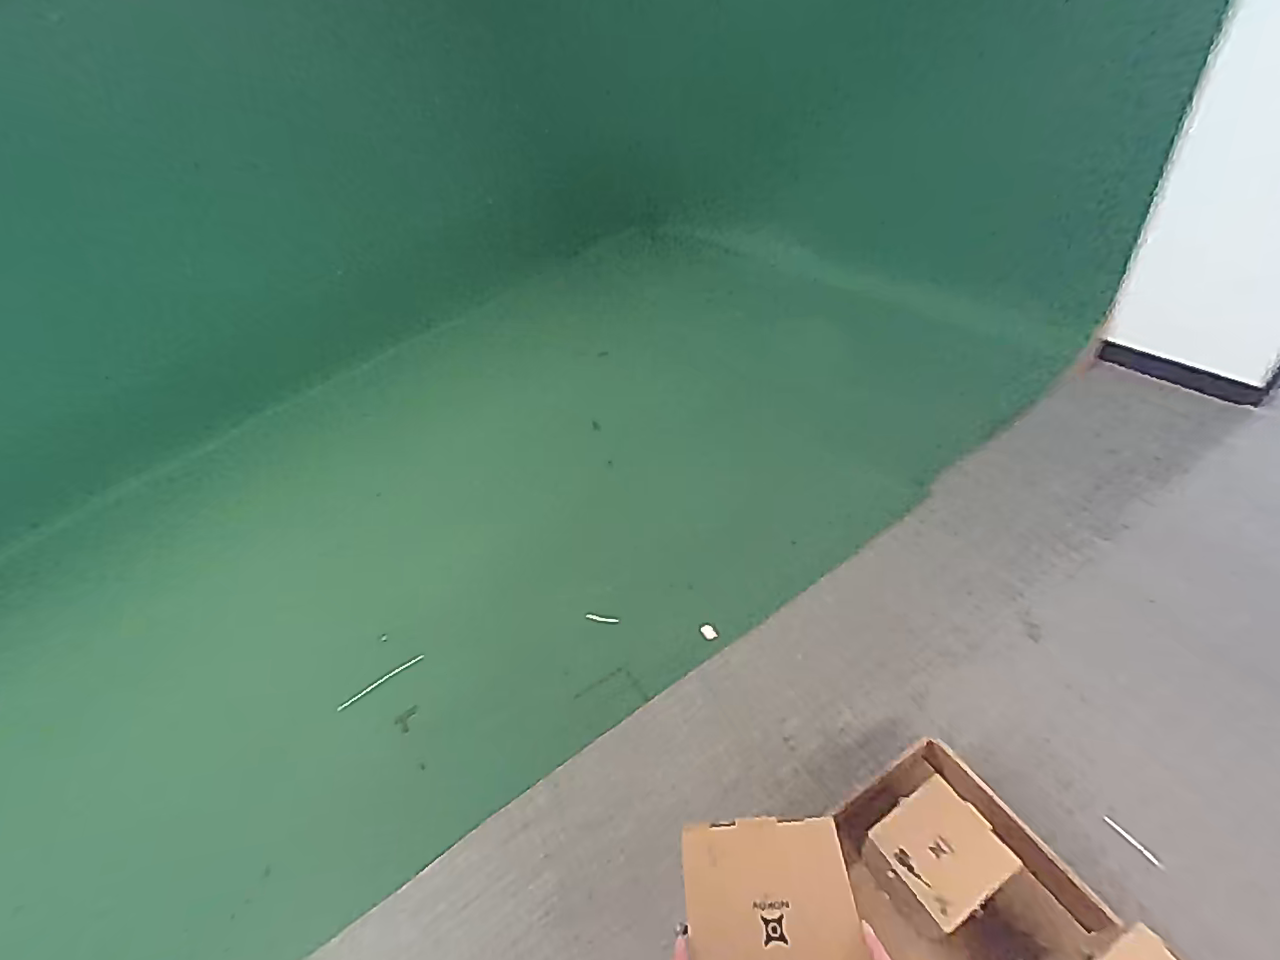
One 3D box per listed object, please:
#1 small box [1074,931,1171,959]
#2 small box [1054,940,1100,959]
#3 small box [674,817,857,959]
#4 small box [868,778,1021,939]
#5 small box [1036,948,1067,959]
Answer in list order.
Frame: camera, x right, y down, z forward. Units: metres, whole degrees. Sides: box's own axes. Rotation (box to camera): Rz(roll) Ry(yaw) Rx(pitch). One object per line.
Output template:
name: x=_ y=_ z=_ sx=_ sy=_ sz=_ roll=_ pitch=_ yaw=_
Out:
small box: x=0.632 y=0.721 z=0.685 sx=0.179 sy=0.176 sz=0.168 roll=-31 pitch=44 yaw=-8
small box: x=0.672 y=0.833 z=0.799 sx=0.179 sy=0.176 sz=0.168 roll=-30 pitch=44 yaw=-9
small box: x=0.123 y=0.484 z=0.573 sx=0.168 sy=0.176 sz=0.179 roll=-5 pitch=44 yaw=2
small box: x=0.536 y=0.688 z=0.982 sx=0.179 sy=0.176 sz=0.168 roll=-31 pitch=45 yaw=-10
small box: x=0.713 y=0.944 z=0.913 sx=0.179 sy=0.176 sz=0.168 roll=-30 pitch=44 yaw=-9
